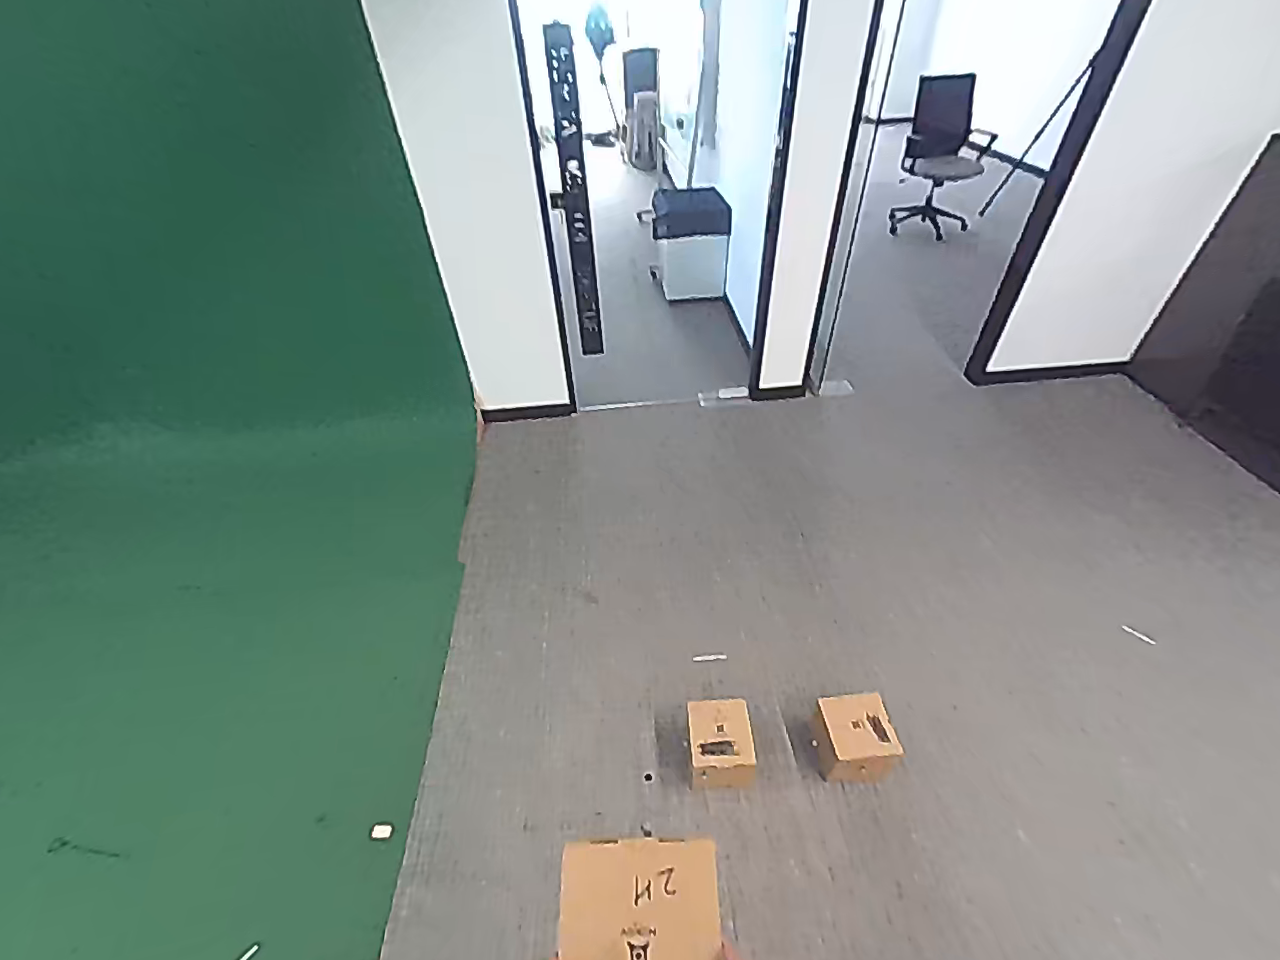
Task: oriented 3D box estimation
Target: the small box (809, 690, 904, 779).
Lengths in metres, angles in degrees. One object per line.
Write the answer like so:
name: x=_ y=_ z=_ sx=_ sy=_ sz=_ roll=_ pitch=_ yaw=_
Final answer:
small box: x=0.584 y=0.699 z=1.483 sx=0.179 sy=0.176 sz=0.168 roll=-5 pitch=42 yaw=-2
